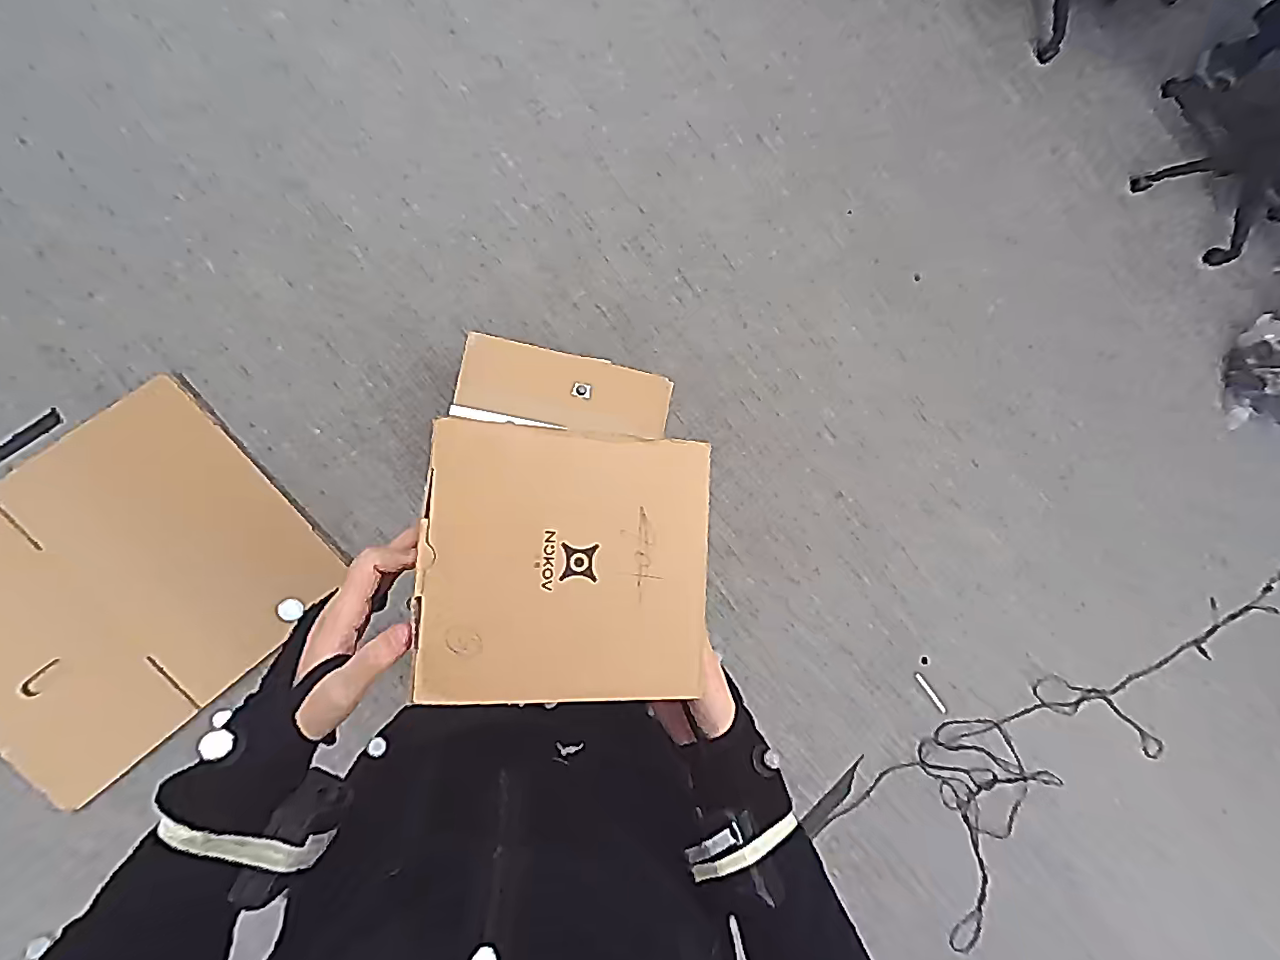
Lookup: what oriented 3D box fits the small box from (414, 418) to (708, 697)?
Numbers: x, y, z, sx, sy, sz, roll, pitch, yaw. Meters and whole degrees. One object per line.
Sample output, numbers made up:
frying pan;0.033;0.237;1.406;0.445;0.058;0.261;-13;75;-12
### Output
small box;-0.060;0.057;0.411;0.179;0.176;0.168;4;83;-14
